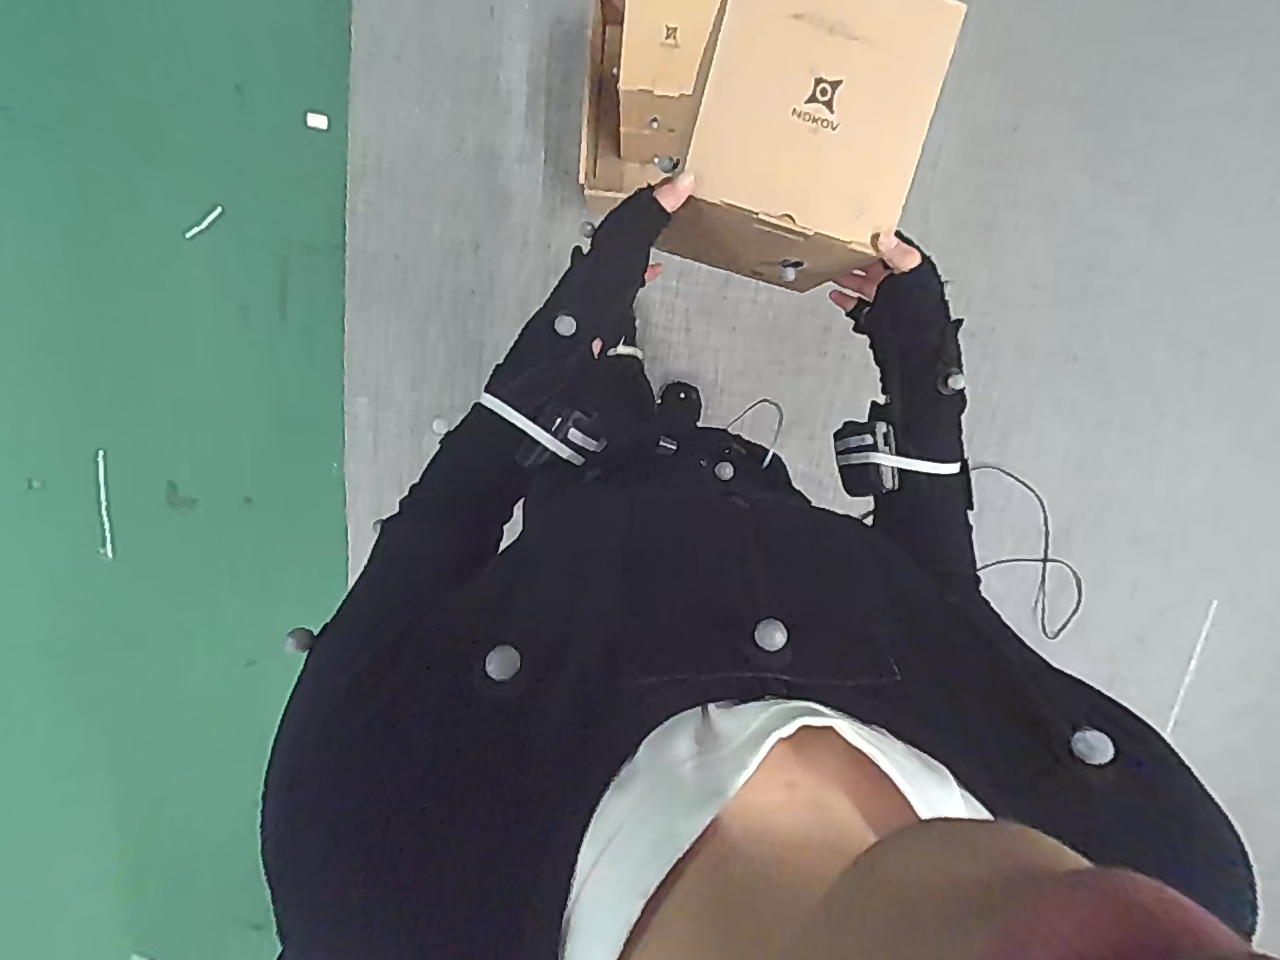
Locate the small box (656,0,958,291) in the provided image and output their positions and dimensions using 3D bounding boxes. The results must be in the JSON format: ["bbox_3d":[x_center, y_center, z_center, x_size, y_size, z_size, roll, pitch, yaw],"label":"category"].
[{"bbox_3d":[0.115,-0.276,0.455,0.168,0.176,0.179,14,97,-7],"label":"small box"}]

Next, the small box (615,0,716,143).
[{"bbox_3d":[0.041,-0.767,1.011,0.168,0.176,0.179,4,101,-3],"label":"small box"}]

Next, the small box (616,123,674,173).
[{"bbox_3d":[0.037,-0.796,1.172,0.168,0.176,0.179,6,101,-2],"label":"small box"}]
